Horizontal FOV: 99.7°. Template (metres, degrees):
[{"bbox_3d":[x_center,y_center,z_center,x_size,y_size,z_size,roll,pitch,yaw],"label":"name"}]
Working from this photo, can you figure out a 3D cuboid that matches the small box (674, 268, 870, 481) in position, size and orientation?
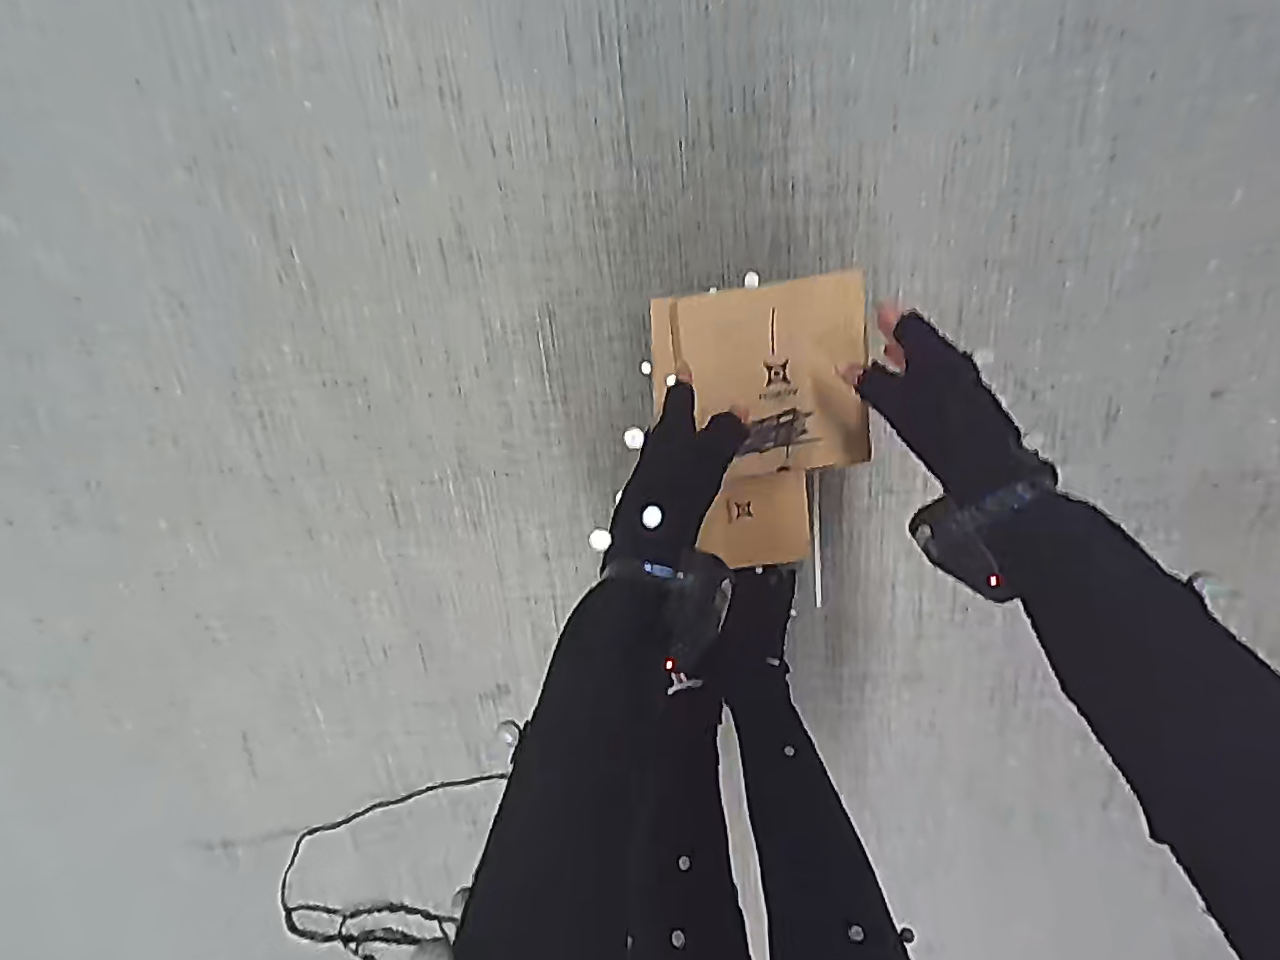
[{"bbox_3d":[0.127,-0.112,0.566,0.168,0.176,0.179,-7,105,3],"label":"small box"}]
